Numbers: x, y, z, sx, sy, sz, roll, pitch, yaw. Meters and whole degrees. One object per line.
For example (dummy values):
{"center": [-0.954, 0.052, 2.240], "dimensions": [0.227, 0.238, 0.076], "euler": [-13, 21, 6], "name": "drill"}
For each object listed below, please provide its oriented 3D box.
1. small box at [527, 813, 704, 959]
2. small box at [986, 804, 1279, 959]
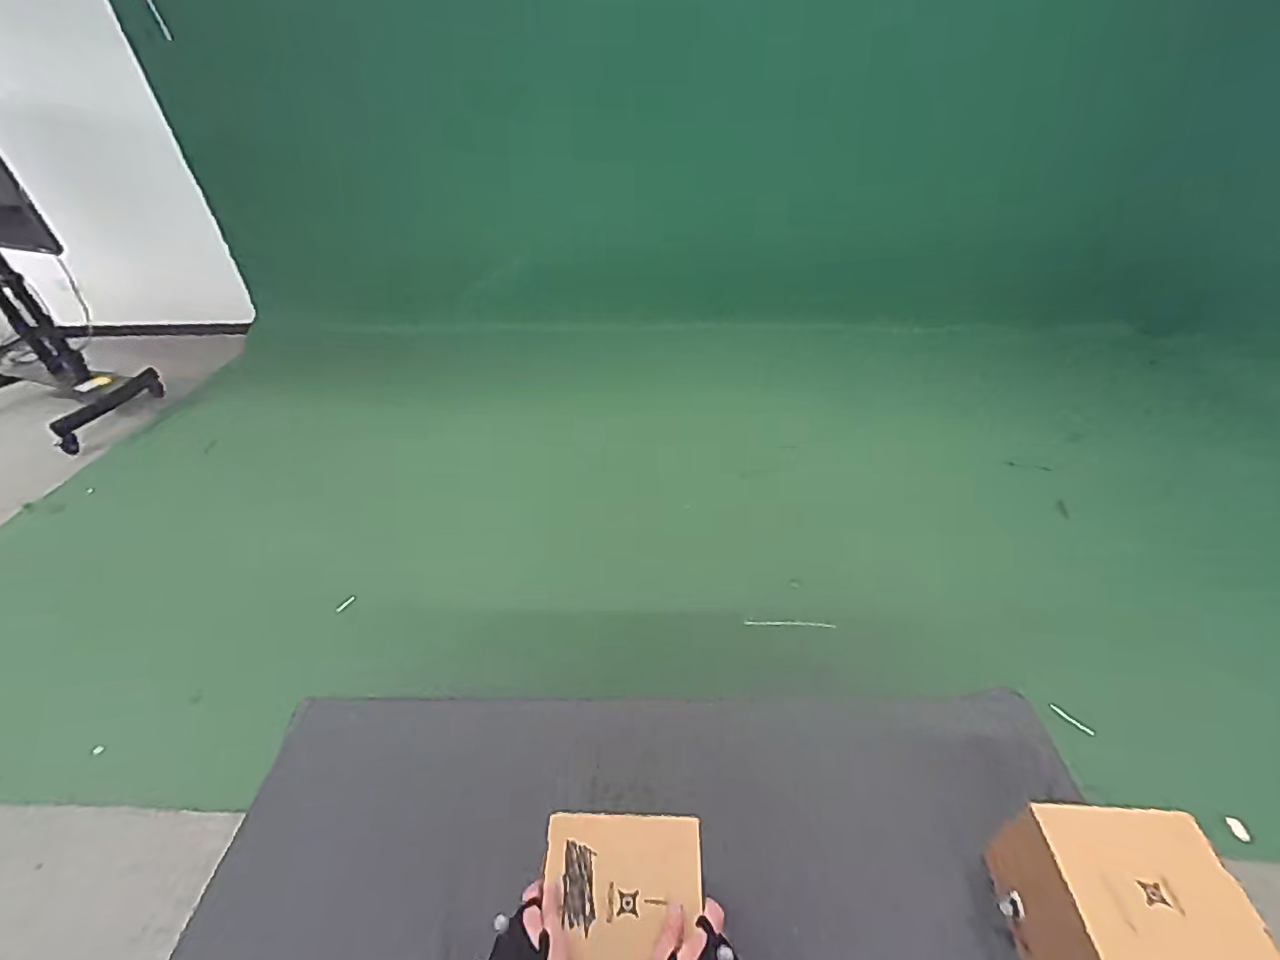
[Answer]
{"center": [-0.020, 0.501, 0.612], "dimensions": [0.179, 0.176, 0.168], "euler": [1, 40, 2], "name": "small box"}
{"center": [0.532, 0.487, 0.600], "dimensions": [0.179, 0.176, 0.168], "euler": [0, 38, 5], "name": "small box"}
